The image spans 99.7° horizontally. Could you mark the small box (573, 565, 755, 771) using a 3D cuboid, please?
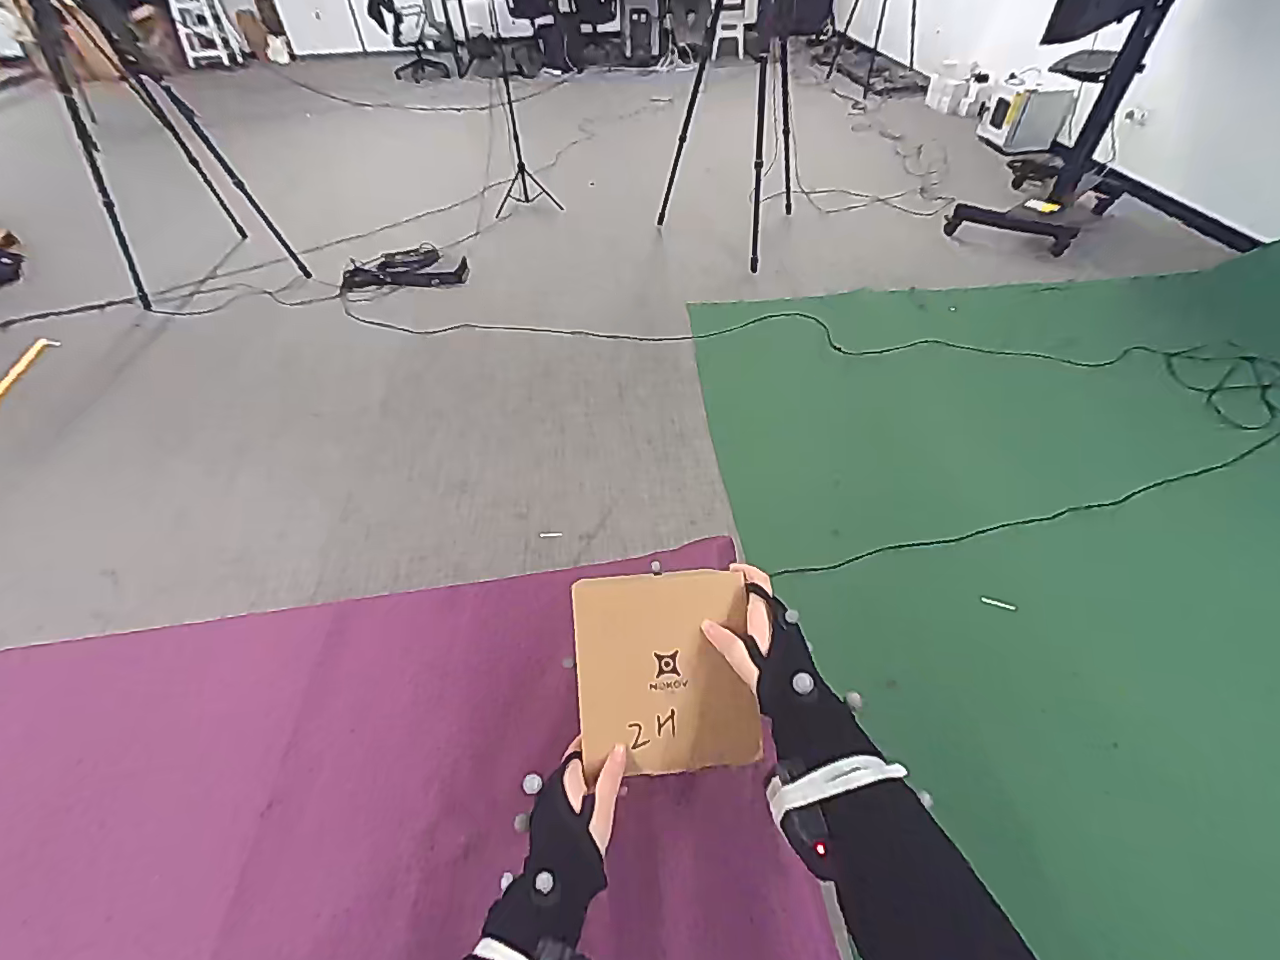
[{"bbox_3d":[0.016,0.185,0.583,0.168,0.176,0.179,-4,82,-4],"label":"small box"}]
